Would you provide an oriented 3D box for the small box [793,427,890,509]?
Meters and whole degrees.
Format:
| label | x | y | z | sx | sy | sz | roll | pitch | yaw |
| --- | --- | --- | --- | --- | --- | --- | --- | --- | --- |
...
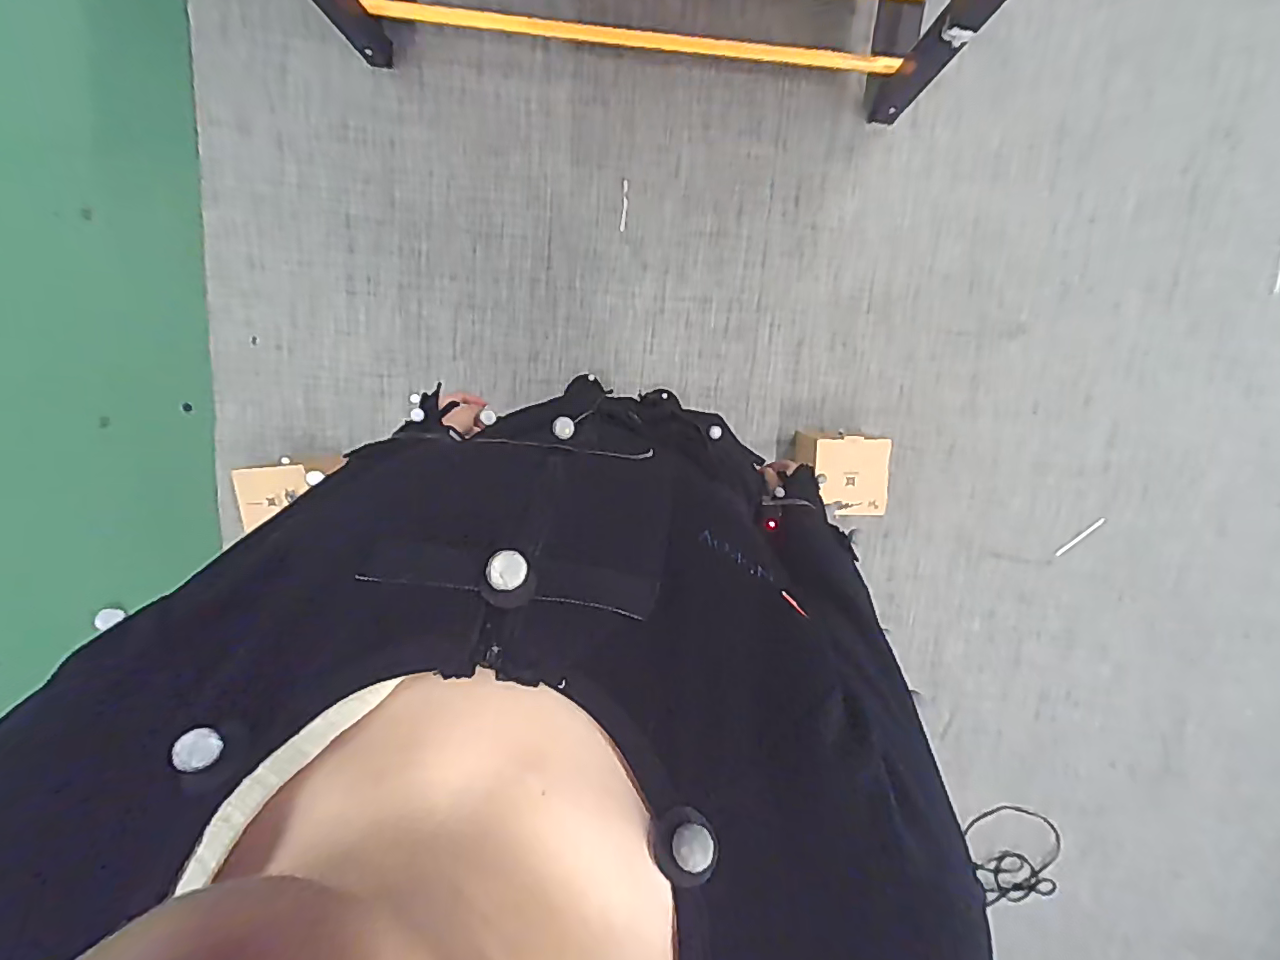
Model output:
| label | x | y | z | sx | sy | sz | roll | pitch | yaw |
| --- | --- | --- | --- | --- | --- | --- | --- | --- | --- |
| small box | 0.466 | -0.034 | 1.274 | 0.168 | 0.176 | 0.179 | 0 | 100 | 1 |

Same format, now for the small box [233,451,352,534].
| label | x | y | z | sx | sy | sz | roll | pitch | yaw |
| --- | --- | --- | --- | --- | --- | --- | --- | --- | --- |
| small box | -0.826 | 0.024 | 1.308 | 0.179 | 0.176 | 0.168 | -4 | 101 | 3 |
